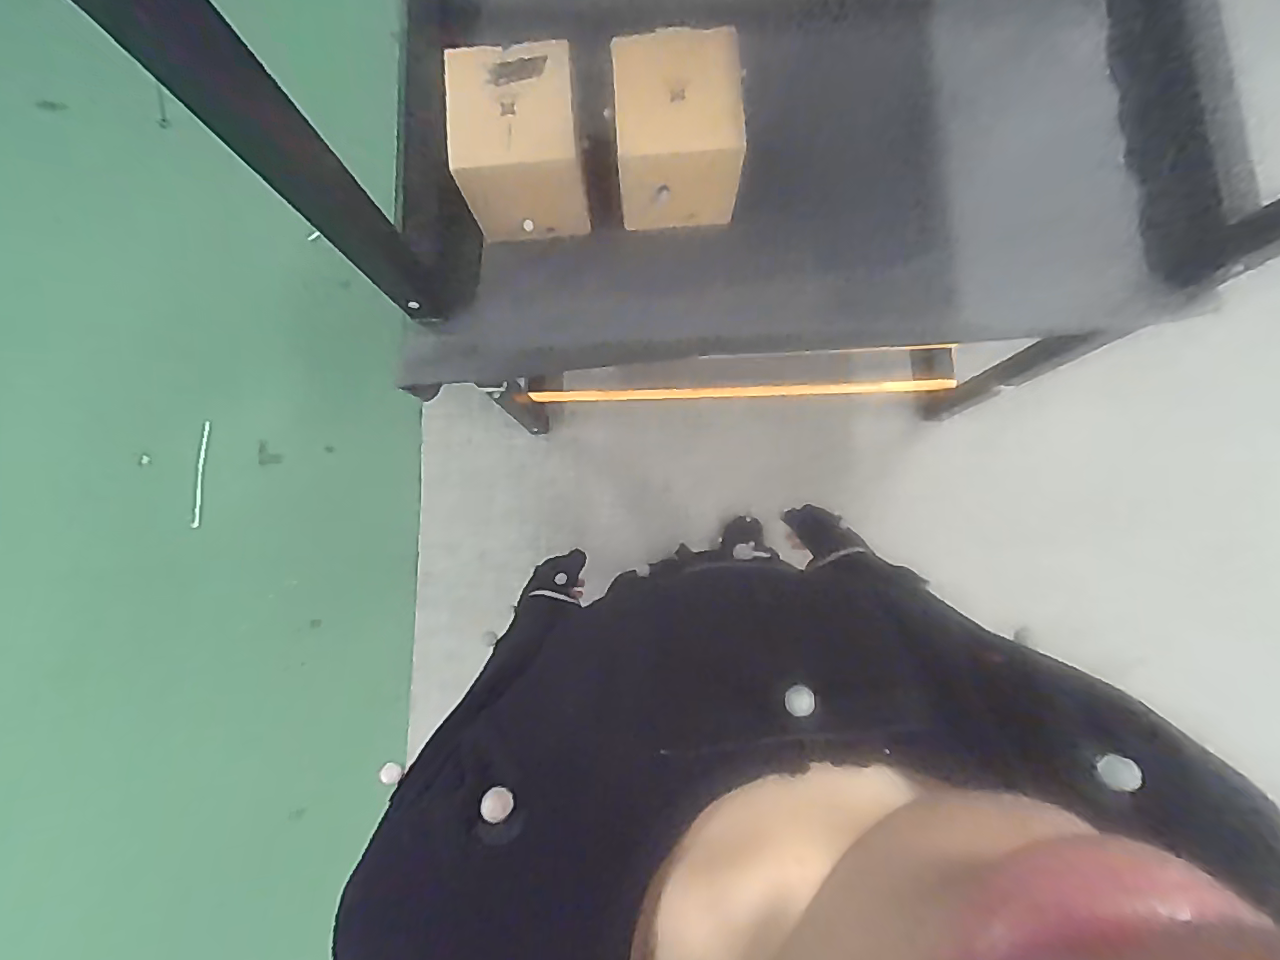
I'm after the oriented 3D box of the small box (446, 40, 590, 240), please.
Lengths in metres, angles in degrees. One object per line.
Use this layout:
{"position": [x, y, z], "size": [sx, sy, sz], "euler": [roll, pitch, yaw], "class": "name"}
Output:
{"position": [-0.166, -0.476, 0.776], "size": [0.168, 0.176, 0.179], "euler": [-4, 82, 2], "class": "small box"}
